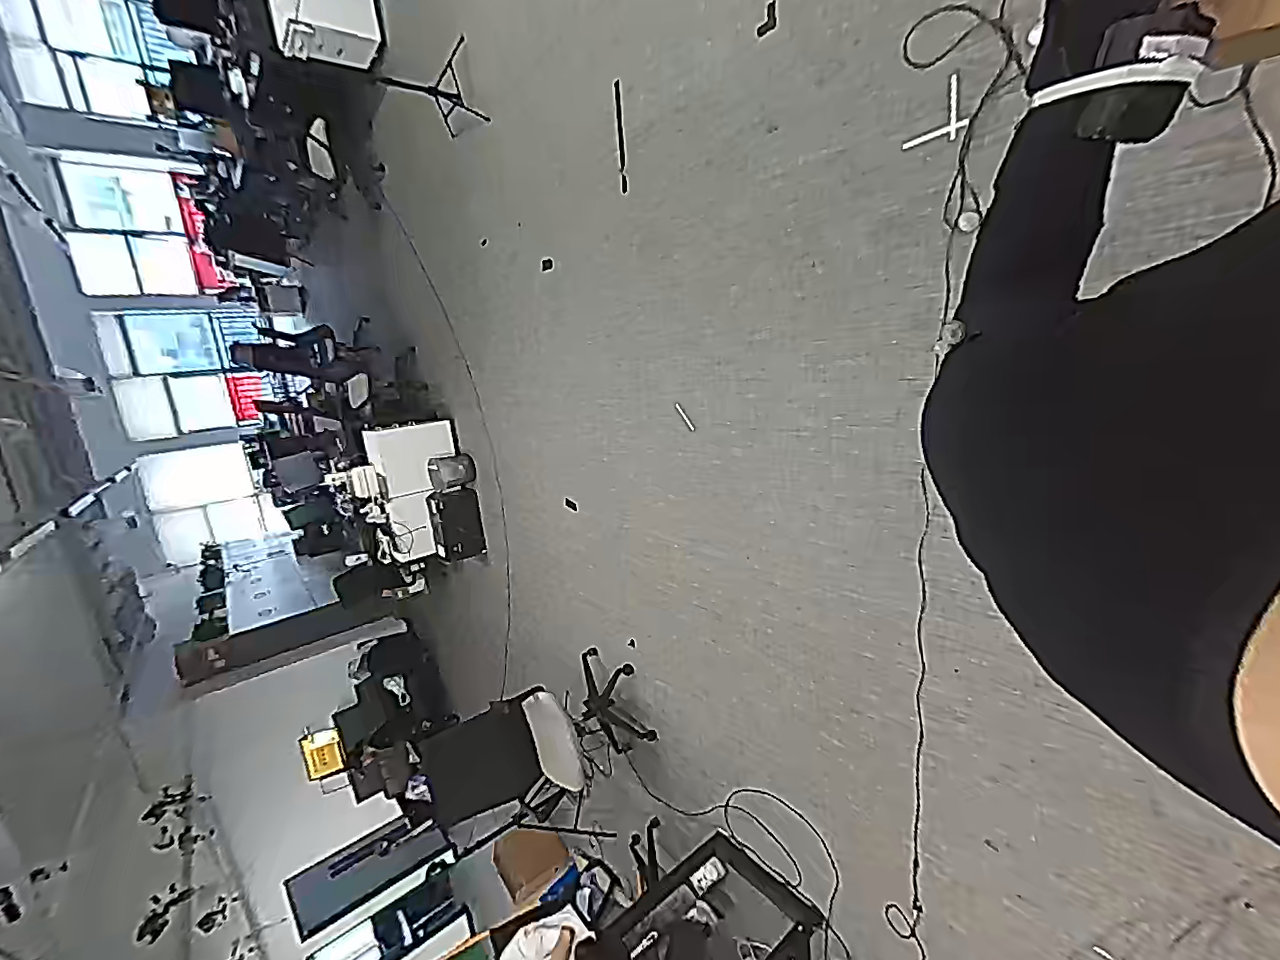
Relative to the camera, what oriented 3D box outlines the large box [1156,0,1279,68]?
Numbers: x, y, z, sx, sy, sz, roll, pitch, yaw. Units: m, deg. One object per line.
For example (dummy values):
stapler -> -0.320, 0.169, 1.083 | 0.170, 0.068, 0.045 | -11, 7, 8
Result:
large box -> 0.568, -0.467, 0.266 | 0.408, 0.320, 0.320 | 14, 124, 46
